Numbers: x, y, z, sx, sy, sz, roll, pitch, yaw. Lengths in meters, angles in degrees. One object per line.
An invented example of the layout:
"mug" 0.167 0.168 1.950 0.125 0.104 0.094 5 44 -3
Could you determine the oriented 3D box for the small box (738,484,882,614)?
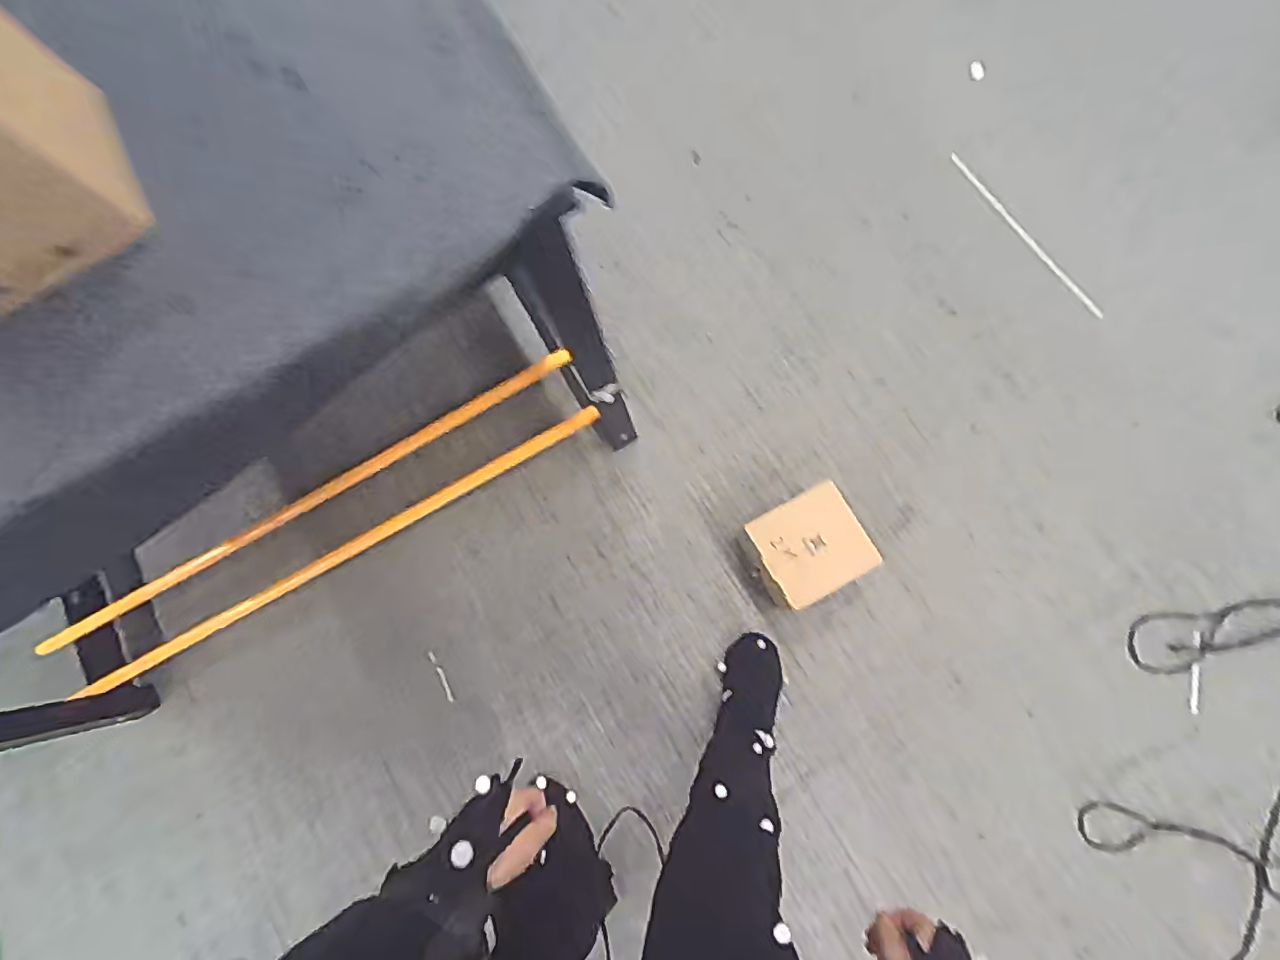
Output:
"small box" 0.298 0.130 0.993 0.179 0.176 0.168 -29 77 -2
